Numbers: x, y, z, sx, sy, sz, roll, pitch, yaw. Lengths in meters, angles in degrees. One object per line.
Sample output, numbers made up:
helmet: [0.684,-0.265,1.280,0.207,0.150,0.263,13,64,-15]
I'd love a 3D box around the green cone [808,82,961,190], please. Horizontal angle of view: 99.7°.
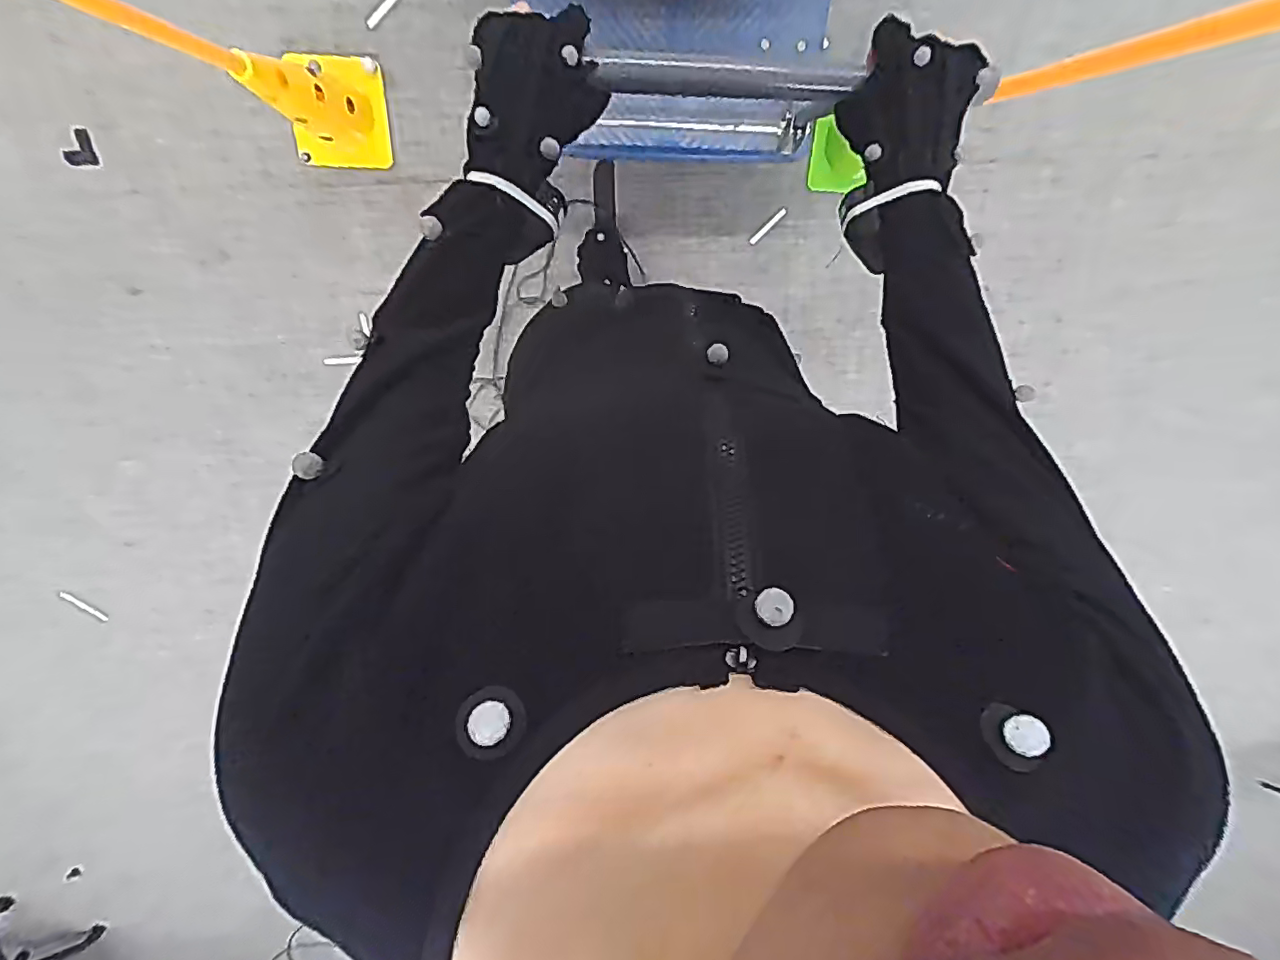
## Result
green cone: [0.498,-0.701,1.062,0.202,0.368,0.200,1,114,-5]
